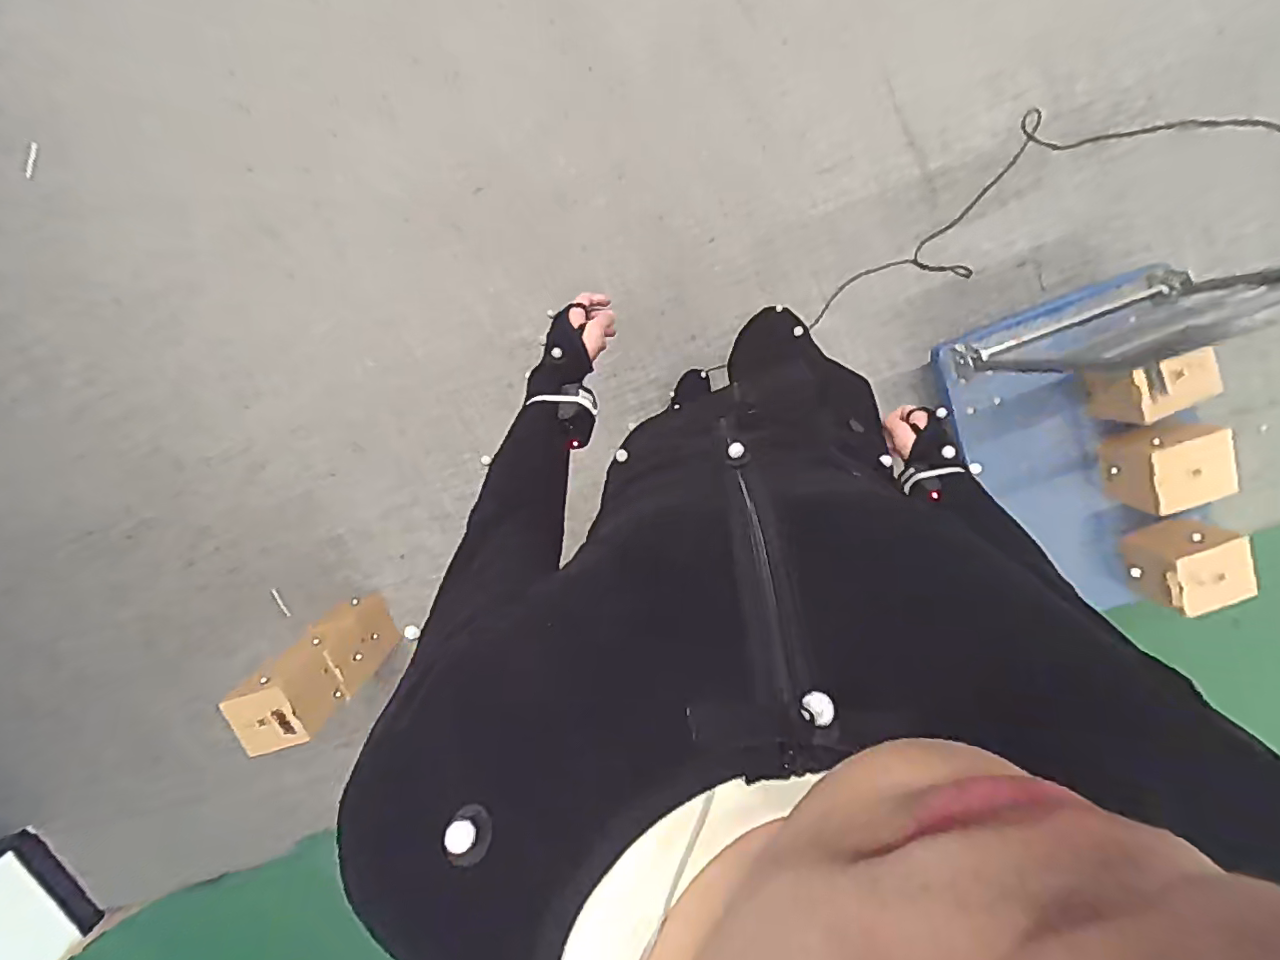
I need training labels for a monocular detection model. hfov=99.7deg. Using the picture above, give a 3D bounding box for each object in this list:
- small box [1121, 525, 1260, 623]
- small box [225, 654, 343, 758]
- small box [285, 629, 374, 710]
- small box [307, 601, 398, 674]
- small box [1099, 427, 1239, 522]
[{"bbox_3d":[1.404,0.233,1.388,0.179,0.176,0.168,-21,100,7],"label":"small box"},{"bbox_3d":[-0.916,0.583,1.418,0.179,0.176,0.168,-17,102,5],"label":"small box"},{"bbox_3d":[-0.902,0.555,1.563,0.179,0.176,0.168,-16,102,4],"label":"small box"},{"bbox_3d":[-0.904,0.514,1.721,0.168,0.176,0.179,-16,102,5],"label":"small box"},{"bbox_3d":[1.298,-0.021,1.336,0.179,0.176,0.168,-20,102,8],"label":"small box"}]
